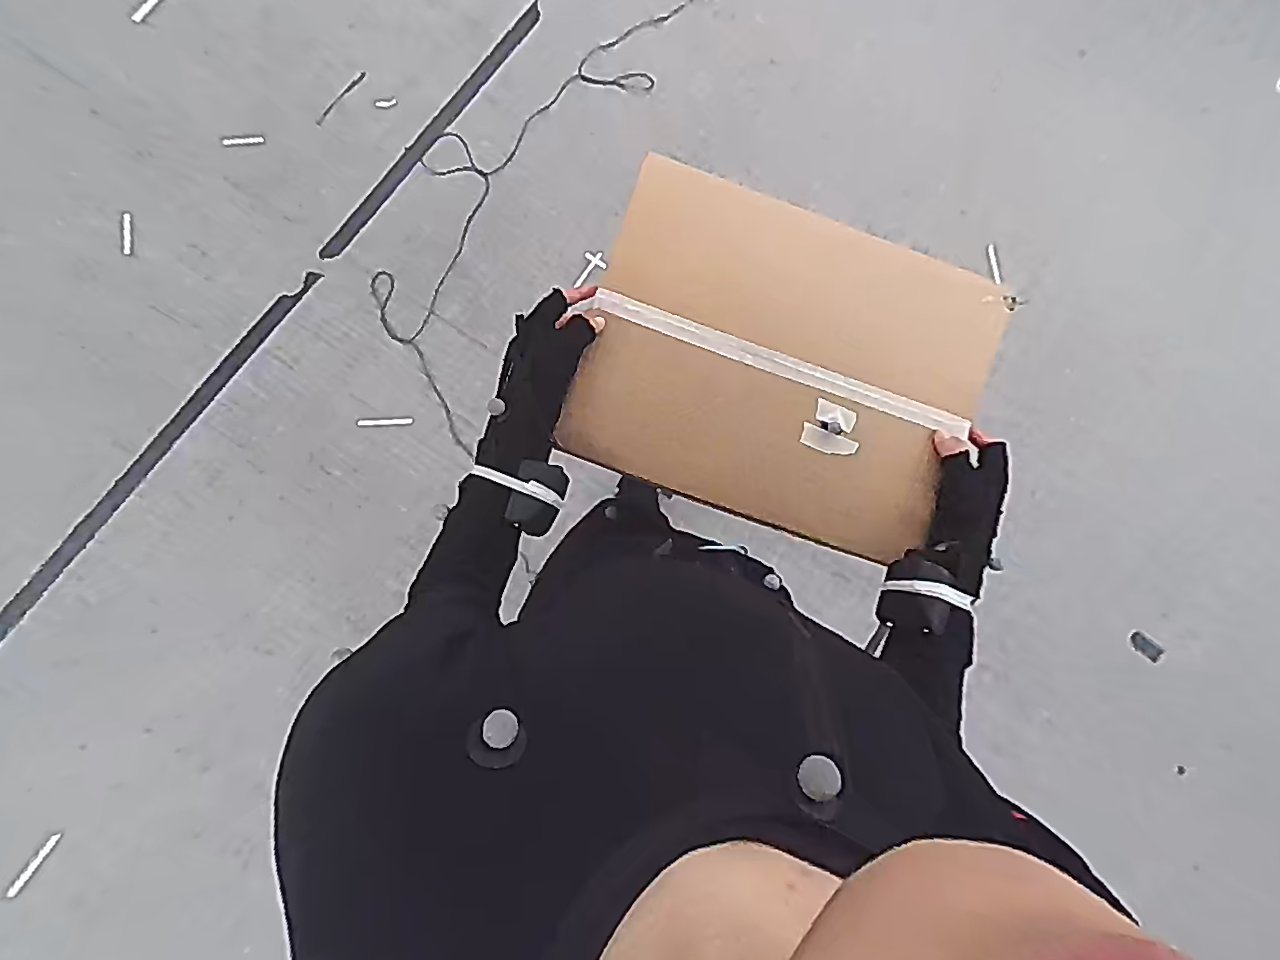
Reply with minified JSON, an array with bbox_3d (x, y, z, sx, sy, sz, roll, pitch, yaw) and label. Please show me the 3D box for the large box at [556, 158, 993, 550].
[{"bbox_3d":[0.136,-0.132,0.717,0.408,0.320,0.320,20,91,-3],"label":"large box"}]
